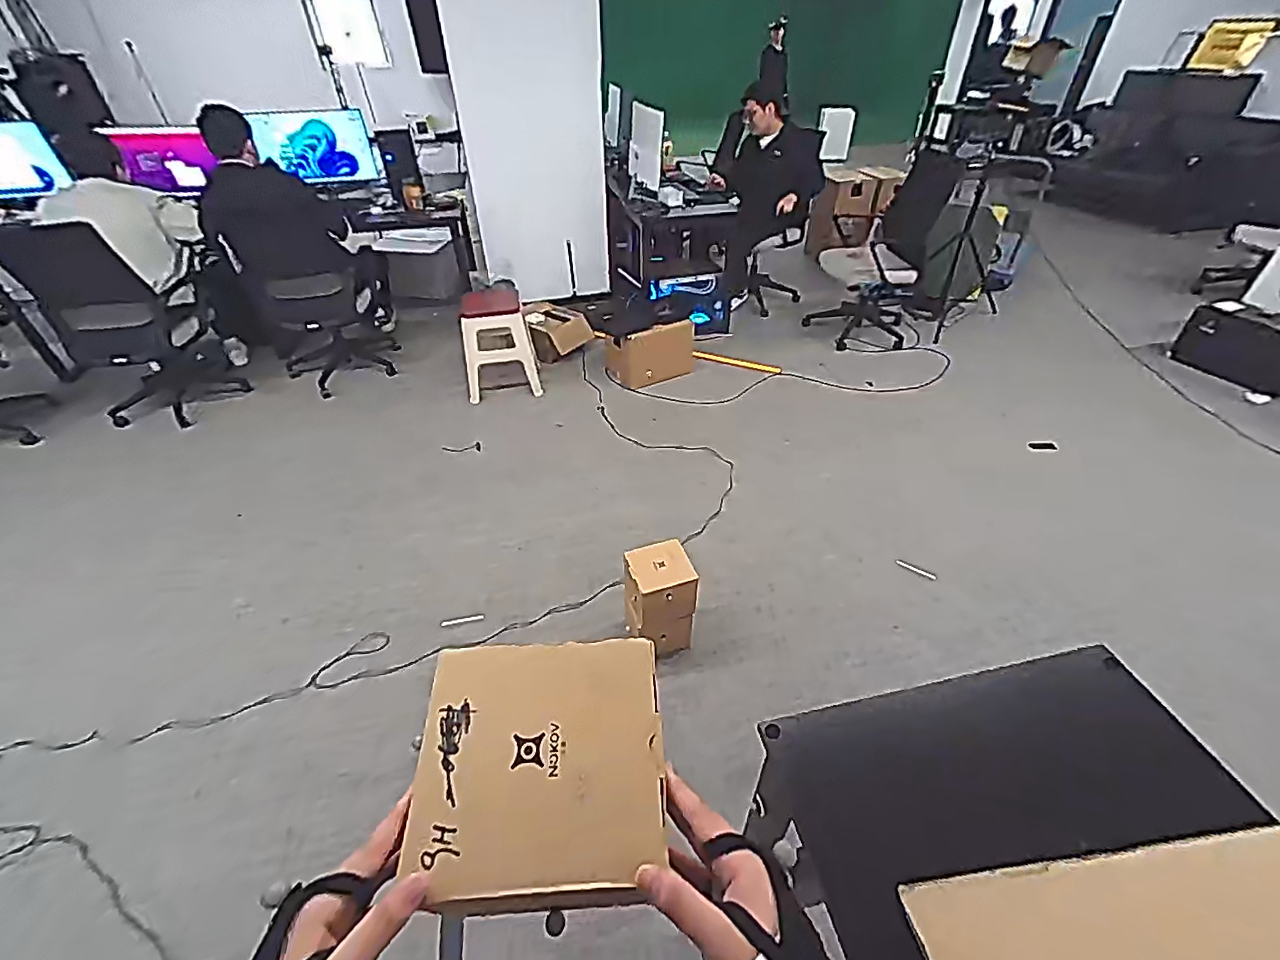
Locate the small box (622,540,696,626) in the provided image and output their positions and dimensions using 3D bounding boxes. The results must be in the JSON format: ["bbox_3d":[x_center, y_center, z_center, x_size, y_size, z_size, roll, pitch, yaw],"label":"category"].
[{"bbox_3d":[0.055,0.311,1.627,0.179,0.176,0.168,-13,42,-15],"label":"small box"}]

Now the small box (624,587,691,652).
[{"bbox_3d":[0.052,0.438,1.729,0.179,0.176,0.168,-12,41,-12],"label":"small box"}]

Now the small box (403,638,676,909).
[{"bbox_3d":[-0.070,0.249,0.457,0.179,0.176,0.168,-2,47,-3],"label":"small box"}]
